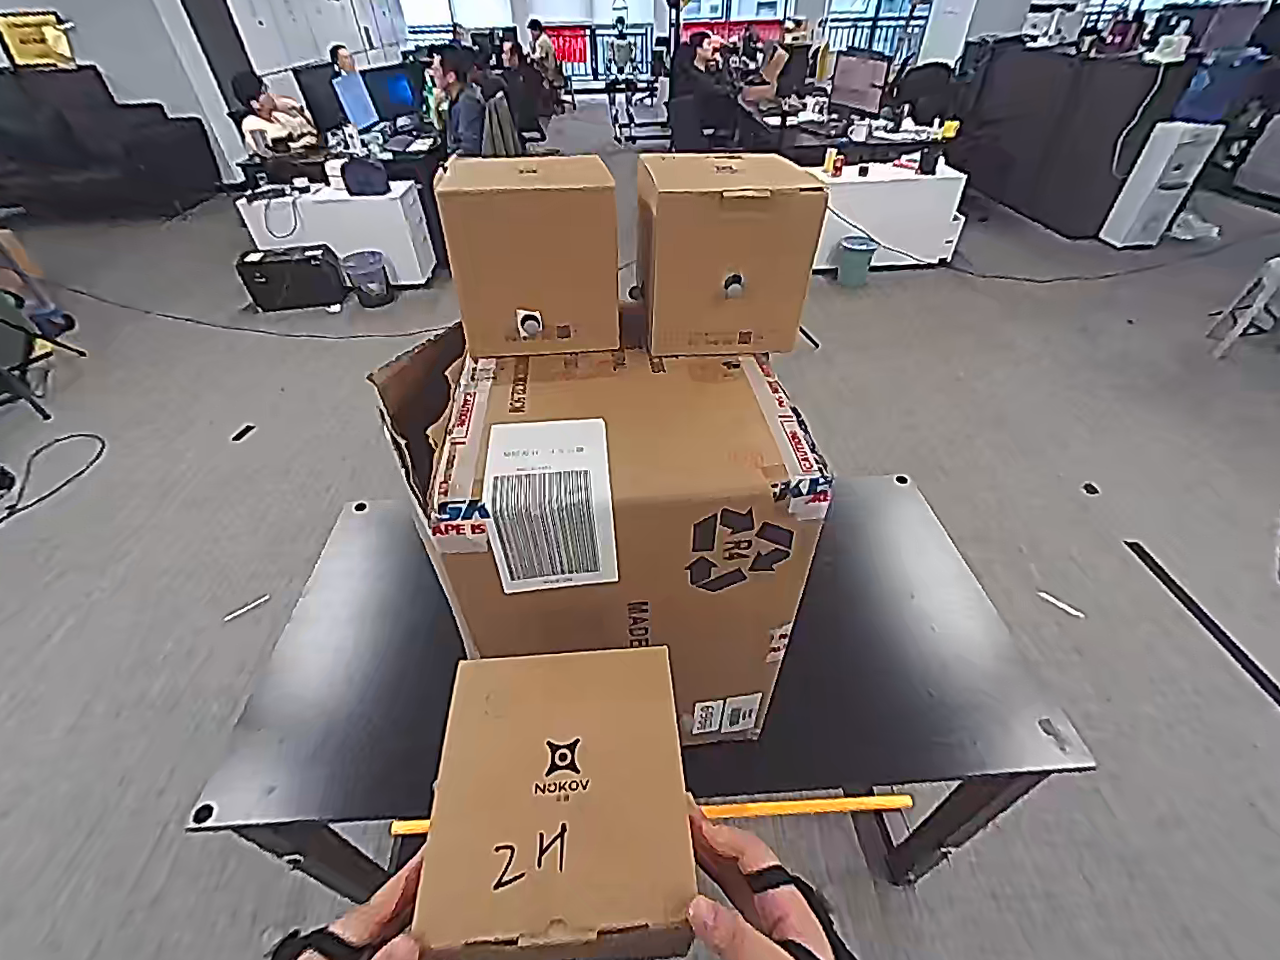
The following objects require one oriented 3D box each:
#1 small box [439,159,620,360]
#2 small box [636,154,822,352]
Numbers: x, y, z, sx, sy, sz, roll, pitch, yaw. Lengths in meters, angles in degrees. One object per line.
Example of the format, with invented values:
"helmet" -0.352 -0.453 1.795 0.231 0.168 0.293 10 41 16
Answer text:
"small box" -0.116 -0.252 0.613 0.168 0.176 0.179 -7 40 -7
"small box" 0.083 -0.257 0.616 0.168 0.176 0.179 -3 42 -5
